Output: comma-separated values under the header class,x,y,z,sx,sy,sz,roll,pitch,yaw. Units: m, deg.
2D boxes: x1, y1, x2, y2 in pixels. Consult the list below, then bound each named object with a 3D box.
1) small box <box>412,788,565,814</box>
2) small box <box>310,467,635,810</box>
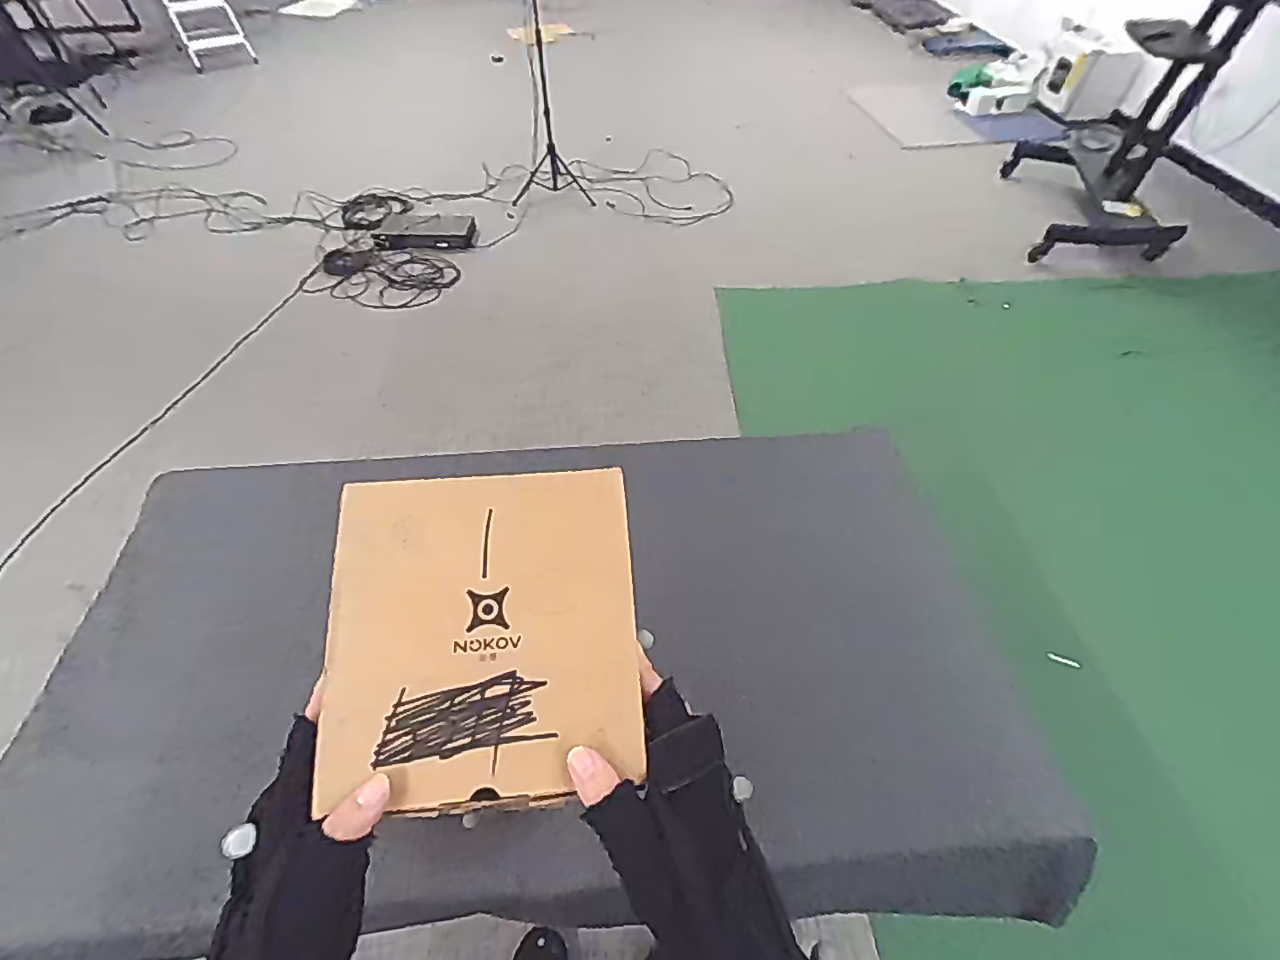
class,x,y,z,sx,sy,sz,roll,pitch,yaw
small box,-0.171,0.249,0.592,0.168,0.176,0.179,-4,52,-1
small box,-0.092,0.104,0.373,0.168,0.176,0.179,-3,70,-5
